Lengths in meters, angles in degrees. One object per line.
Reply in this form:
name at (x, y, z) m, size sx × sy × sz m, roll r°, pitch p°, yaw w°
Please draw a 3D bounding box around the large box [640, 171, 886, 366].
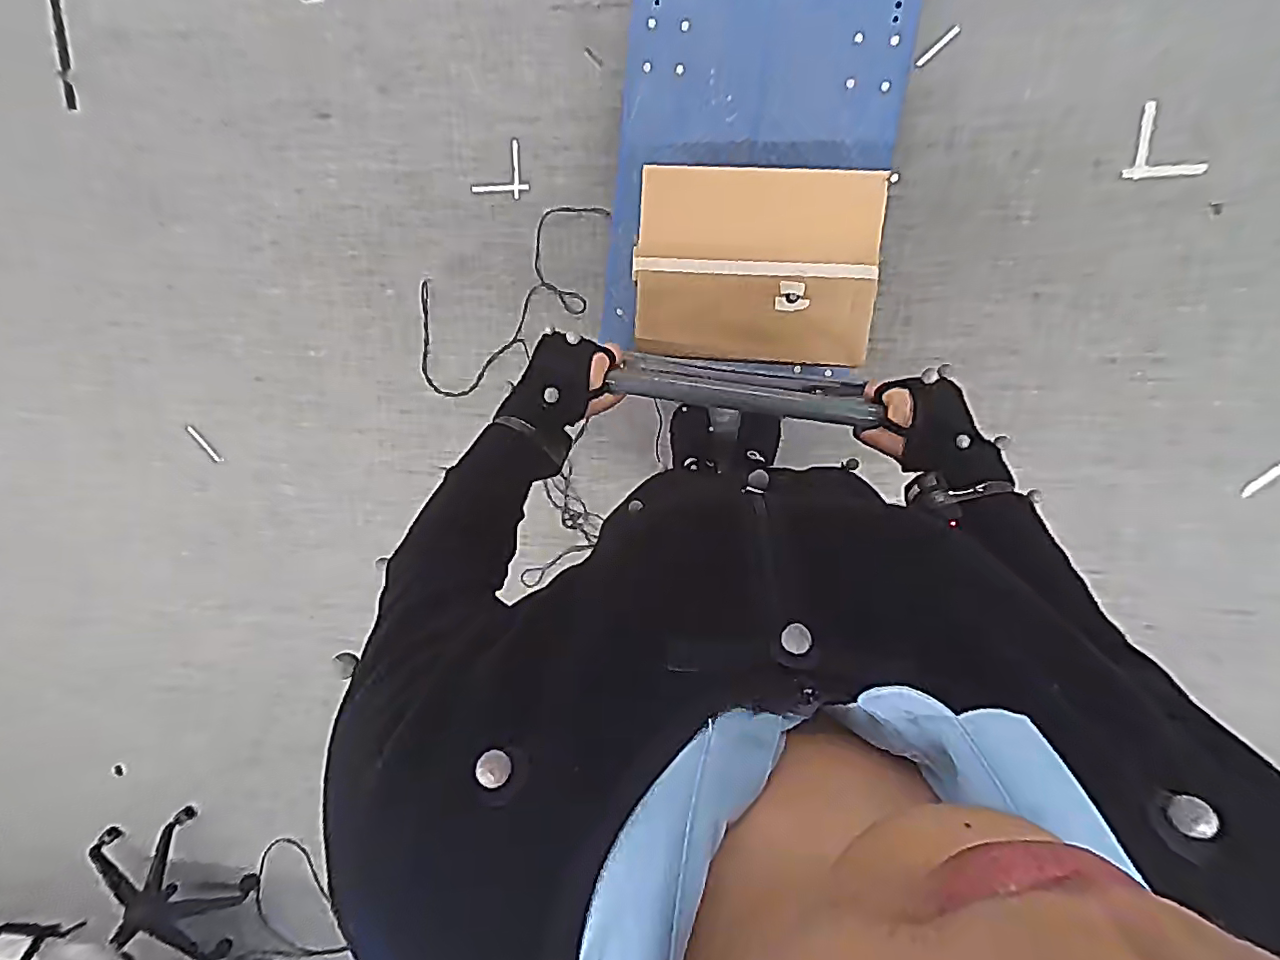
large box at (0.213, -0.392, 1.077) m, size 0.408 × 0.320 × 0.320 m, roll 4°, pitch 103°, yaw 4°
